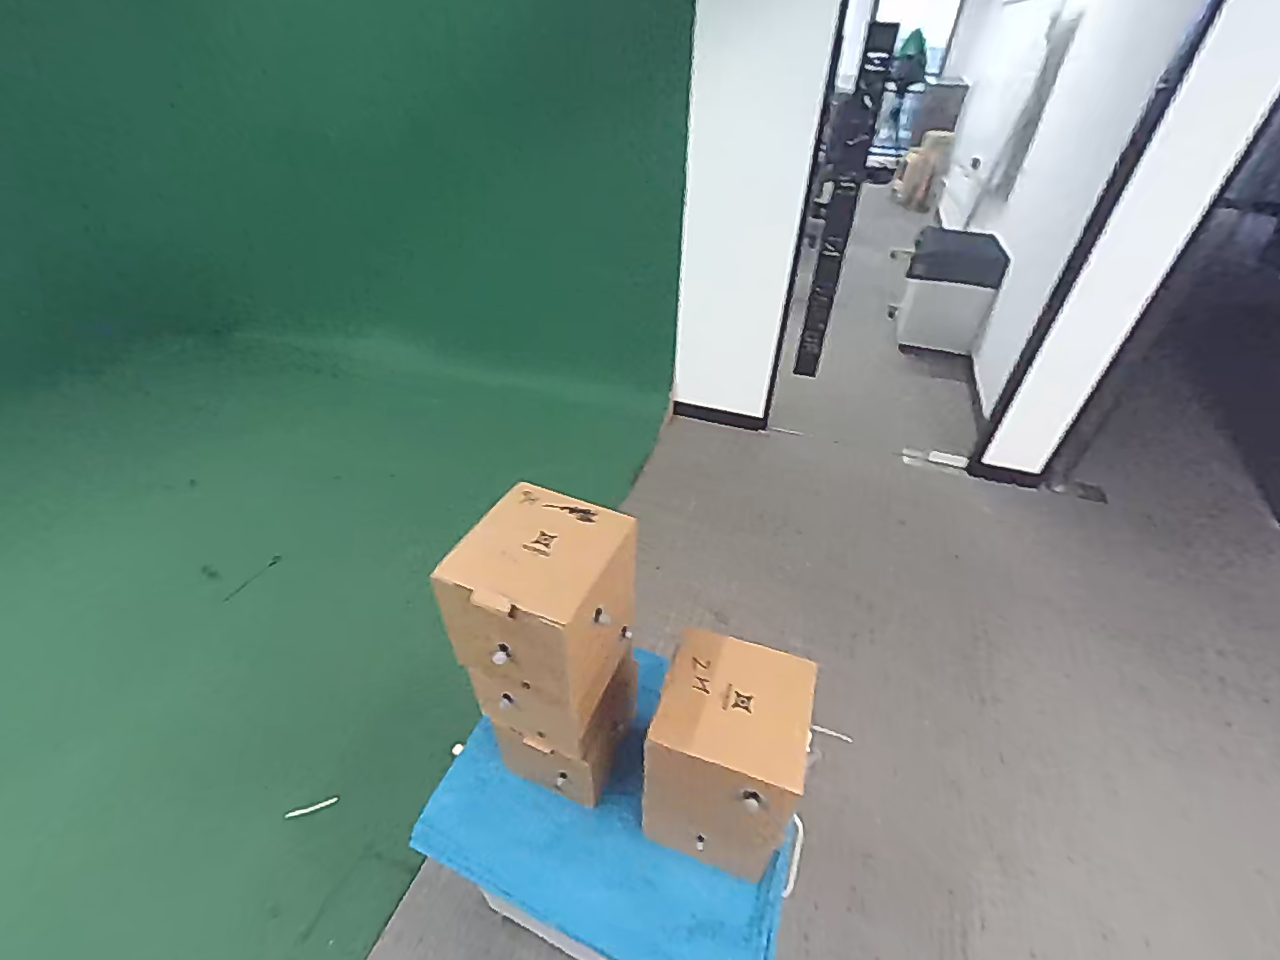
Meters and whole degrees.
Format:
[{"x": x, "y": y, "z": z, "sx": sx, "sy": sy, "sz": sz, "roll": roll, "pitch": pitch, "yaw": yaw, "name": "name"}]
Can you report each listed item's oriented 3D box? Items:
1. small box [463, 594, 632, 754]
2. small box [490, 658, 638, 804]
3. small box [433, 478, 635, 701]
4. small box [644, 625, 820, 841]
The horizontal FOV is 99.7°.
[{"x": -0.119, "y": 0.250, "z": 0.770, "sx": 0.168, "sy": 0.176, "sz": 0.179, "roll": 17, "pitch": 41, "yaw": 18, "name": "small box"}, {"x": -0.112, "y": 0.379, "z": 0.869, "sx": 0.168, "sy": 0.176, "sz": 0.179, "roll": 17, "pitch": 41, "yaw": 17, "name": "small box"}, {"x": -0.114, "y": 0.132, "z": 0.656, "sx": 0.168, "sy": 0.176, "sz": 0.179, "roll": 18, "pitch": 42, "yaw": 17, "name": "small box"}, {"x": 0.113, "y": 0.320, "z": 0.684, "sx": 0.179, "sy": 0.176, "sz": 0.168, "roll": 13, "pitch": 40, "yaw": 16, "name": "small box"}]
